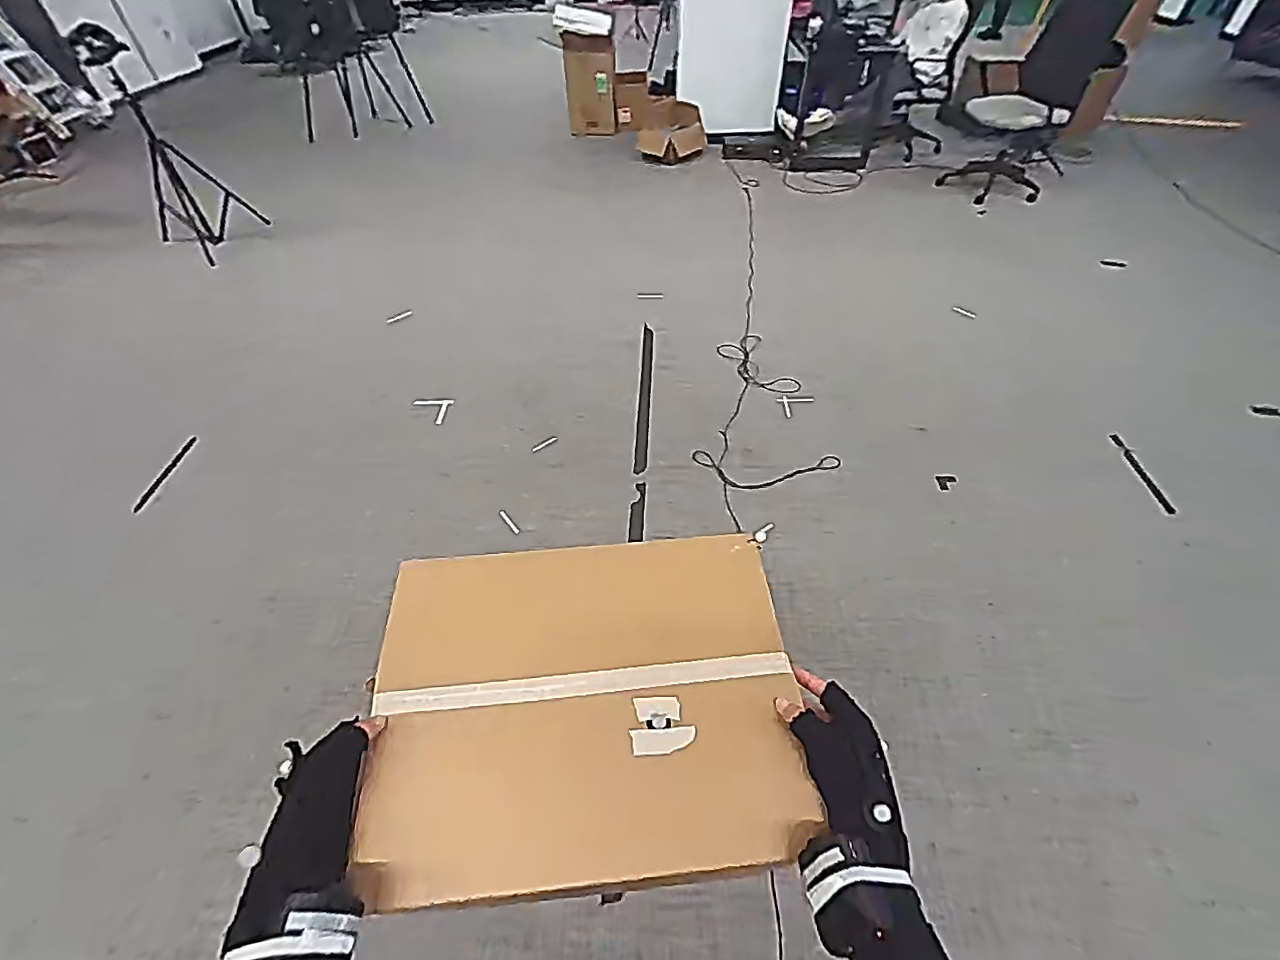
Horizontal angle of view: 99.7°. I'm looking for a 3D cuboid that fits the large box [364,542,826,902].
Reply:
[{"bbox_3d":[-0.051,0.300,0.664,0.408,0.320,0.320,-3,53,-4],"label":"large box"}]
